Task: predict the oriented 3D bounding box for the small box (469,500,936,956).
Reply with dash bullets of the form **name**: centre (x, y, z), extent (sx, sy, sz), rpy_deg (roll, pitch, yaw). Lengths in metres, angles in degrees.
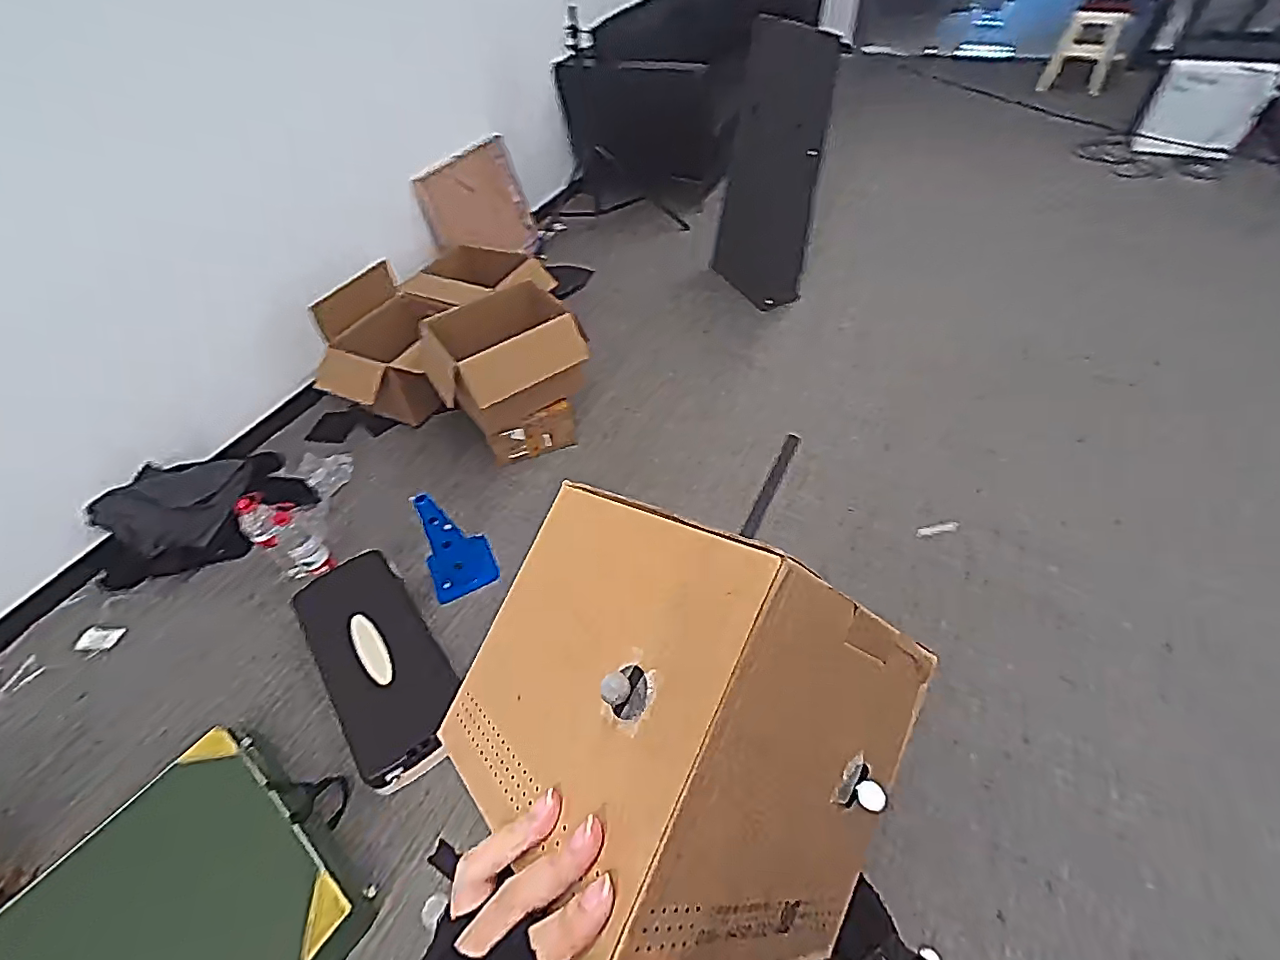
- **small box**: centre (0.029, 0.133, 0.319), extent (0.179, 0.168, 0.176), rpy_deg (15, 76, 54)
